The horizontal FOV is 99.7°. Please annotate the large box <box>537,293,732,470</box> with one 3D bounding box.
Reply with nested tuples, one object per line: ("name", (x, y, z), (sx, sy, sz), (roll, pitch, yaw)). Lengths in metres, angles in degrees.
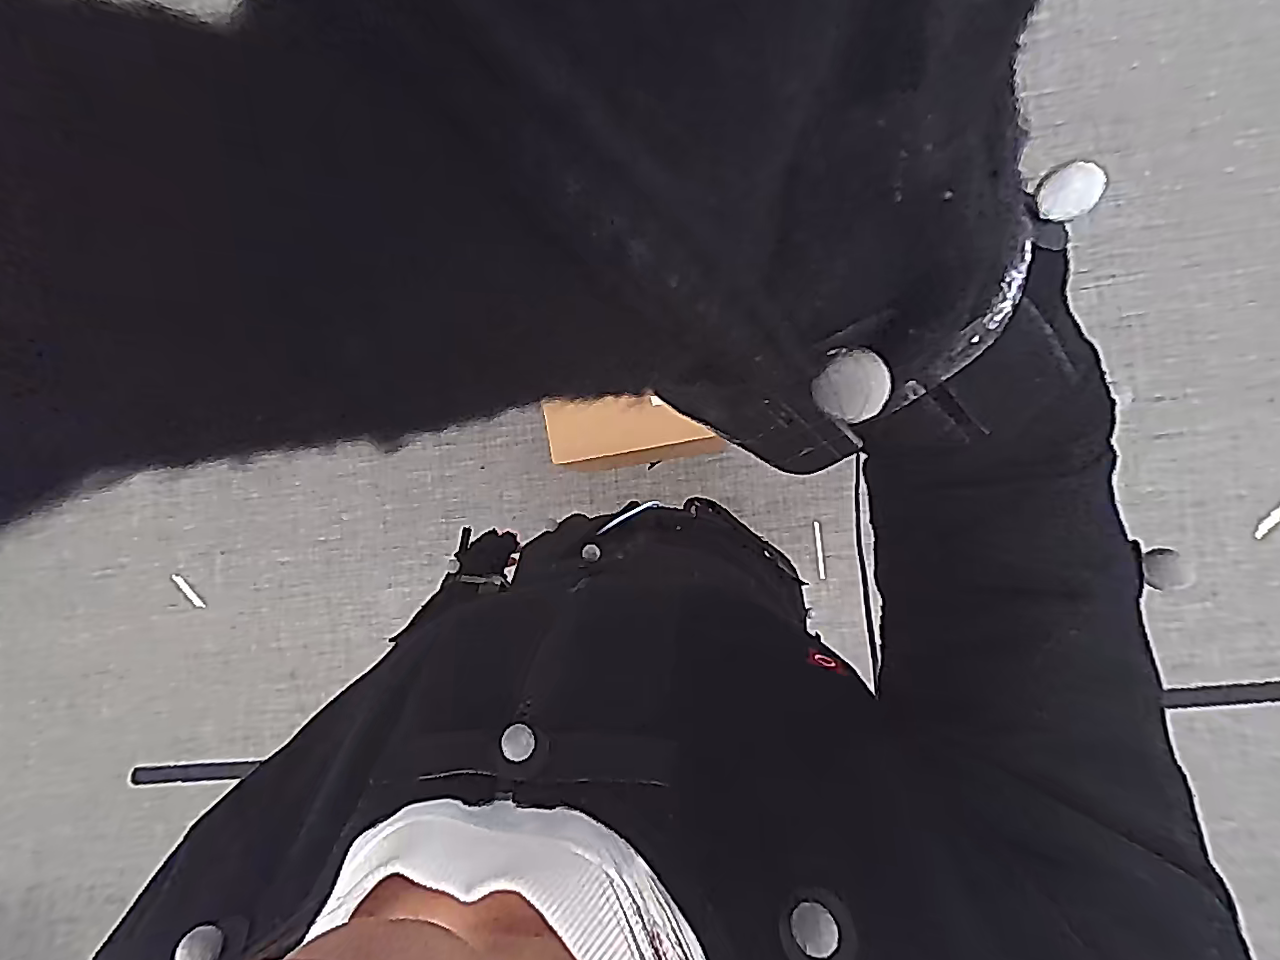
("large box", (-0.004, -0.221, 1.353), (0.408, 0.320, 0.320), (-10, 86, 5))
